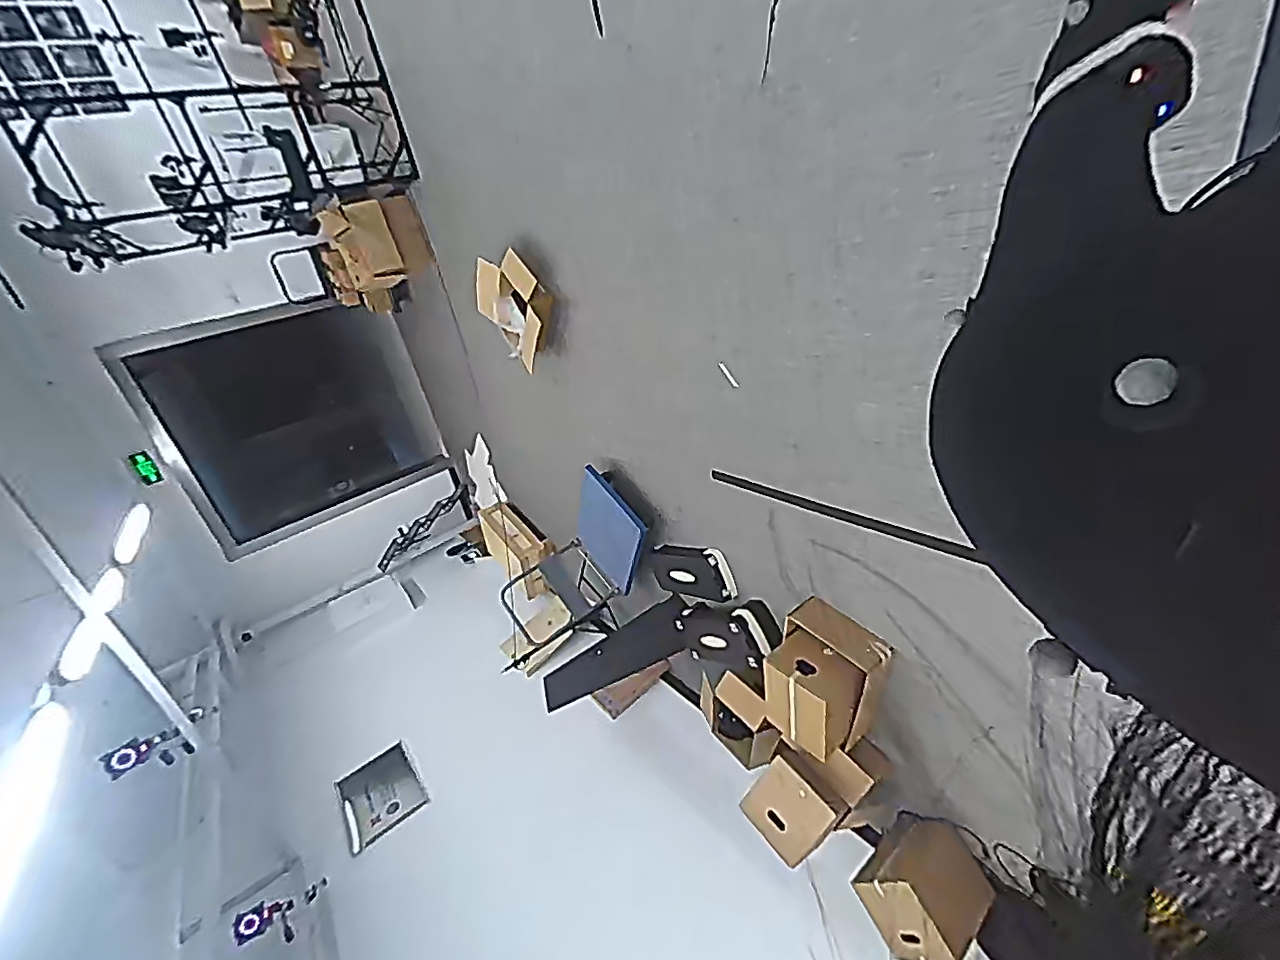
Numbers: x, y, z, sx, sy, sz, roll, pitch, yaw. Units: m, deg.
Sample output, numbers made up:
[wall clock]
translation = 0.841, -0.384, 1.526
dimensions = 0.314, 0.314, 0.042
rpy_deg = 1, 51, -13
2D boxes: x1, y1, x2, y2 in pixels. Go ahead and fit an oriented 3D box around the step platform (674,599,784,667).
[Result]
[step platform]
translation = 0.460, 0.836, 2.969
dimensions = 0.286, 0.204, 0.684
rpy_deg = 62, 150, 0
